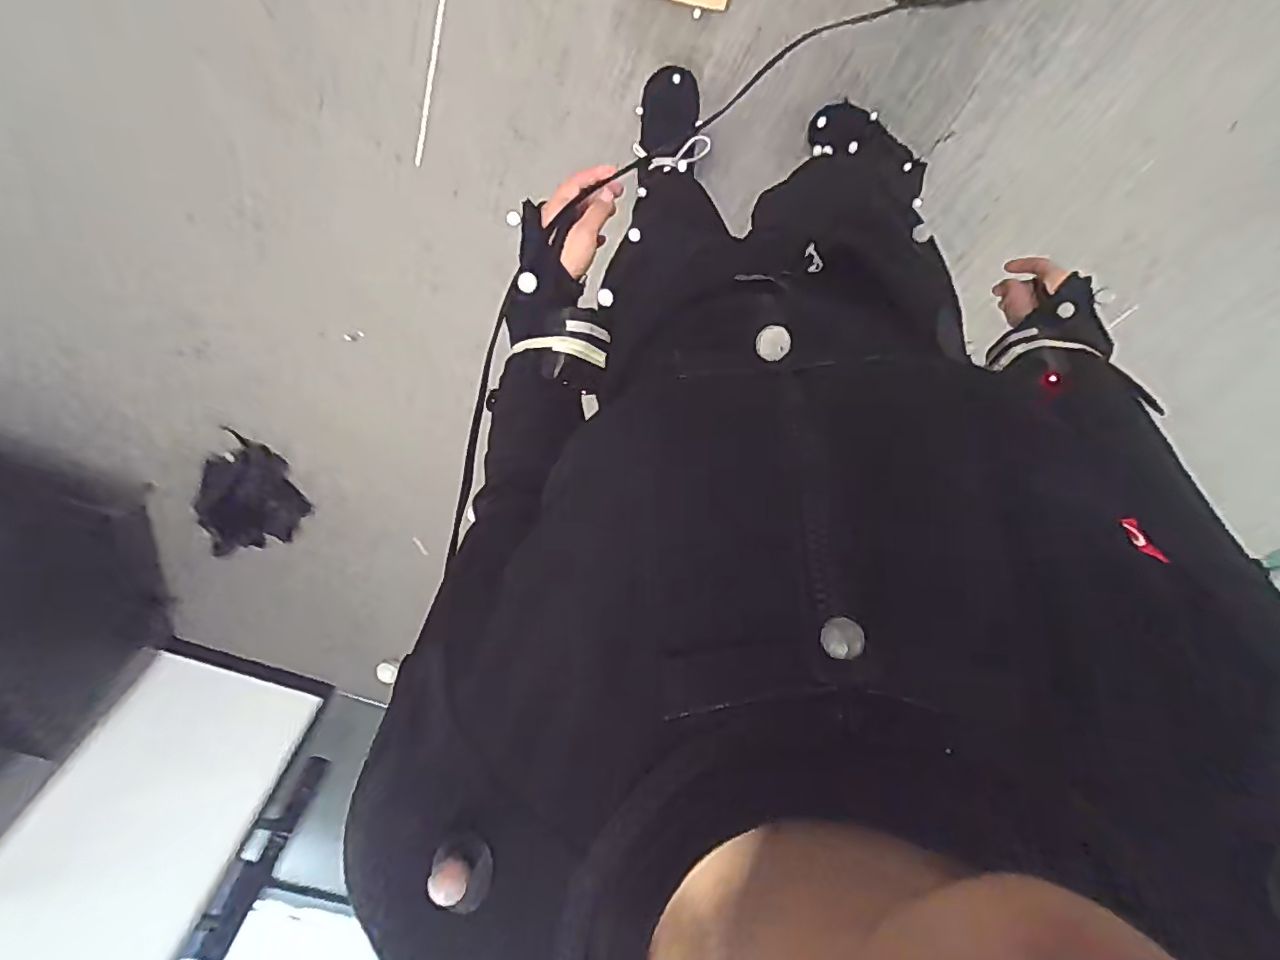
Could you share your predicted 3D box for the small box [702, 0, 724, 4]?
[{"bbox_3d":[0.062,-0.841,0.811,0.179,0.176,0.168,11,131,-1],"label":"small box"}]
